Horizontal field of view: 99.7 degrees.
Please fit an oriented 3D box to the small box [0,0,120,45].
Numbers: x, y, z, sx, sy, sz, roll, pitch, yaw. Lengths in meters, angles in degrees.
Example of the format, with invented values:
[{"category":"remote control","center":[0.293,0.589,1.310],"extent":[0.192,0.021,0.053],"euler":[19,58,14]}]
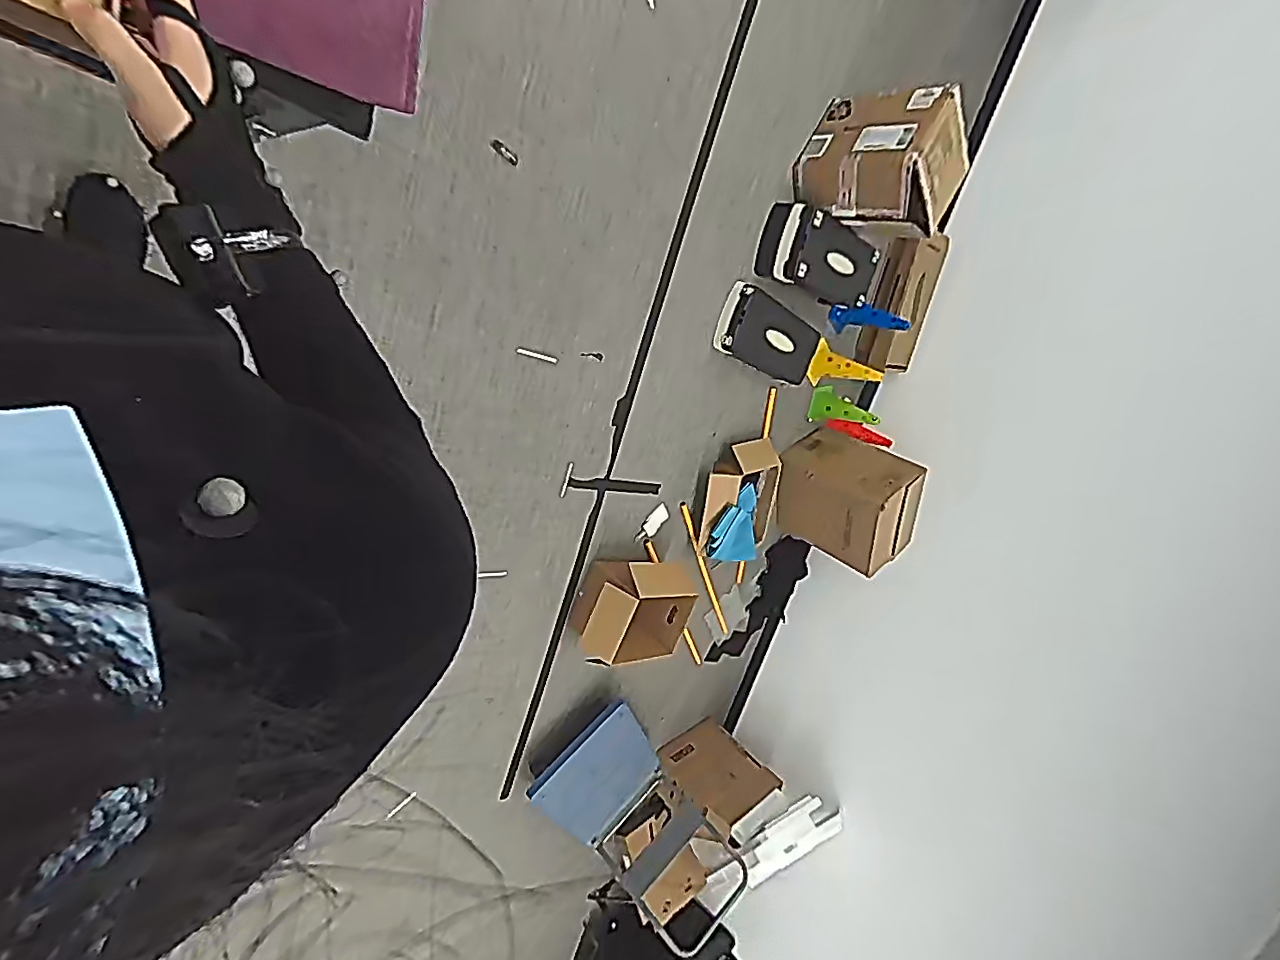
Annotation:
[{"category":"small box","center":[-0.409,-0.394,0.308],"extent":[0.168,0.176,0.179],"euler":[5,110,-45]}]
